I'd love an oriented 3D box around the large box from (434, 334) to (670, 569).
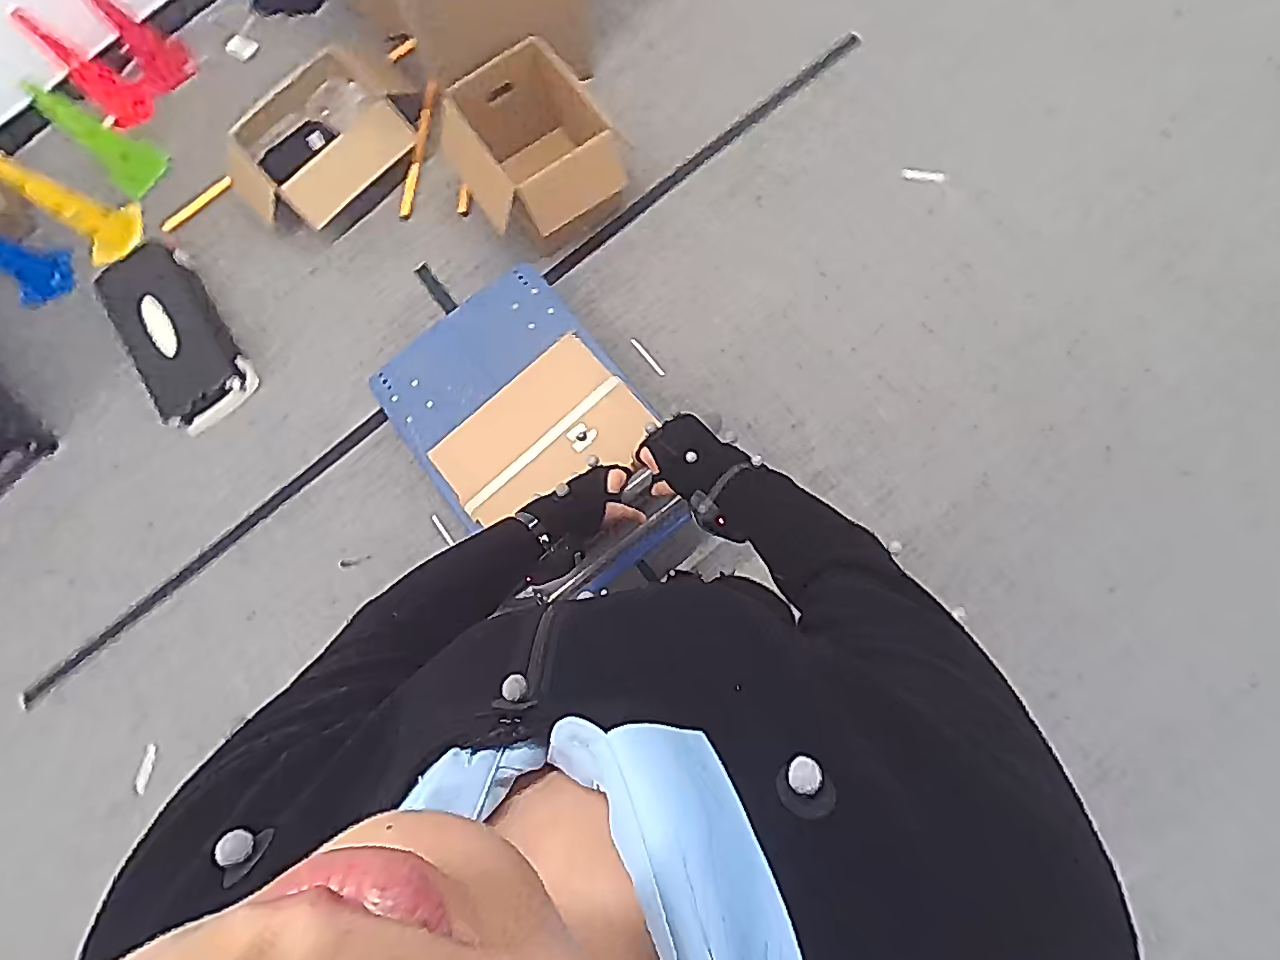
[{"bbox_3d":[-0.179,-0.045,1.263,0.408,0.320,0.320,-42,78,-5],"label":"large box"}]
